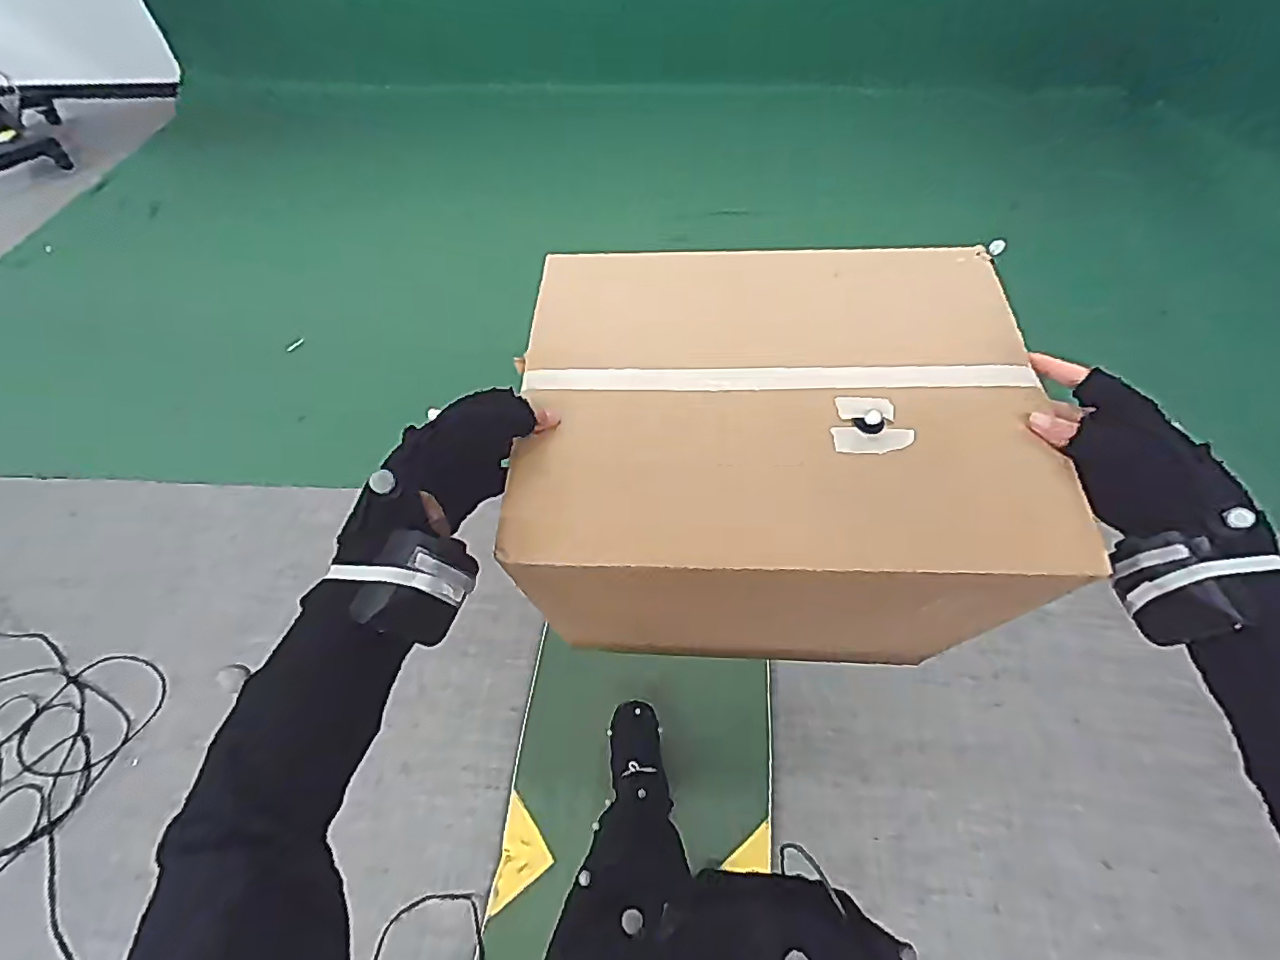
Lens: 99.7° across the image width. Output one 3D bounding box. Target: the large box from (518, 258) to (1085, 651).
[{"bbox_3d":[0.116,-0.006,0.579,0.408,0.320,0.320,1,62,3],"label":"large box"}]
